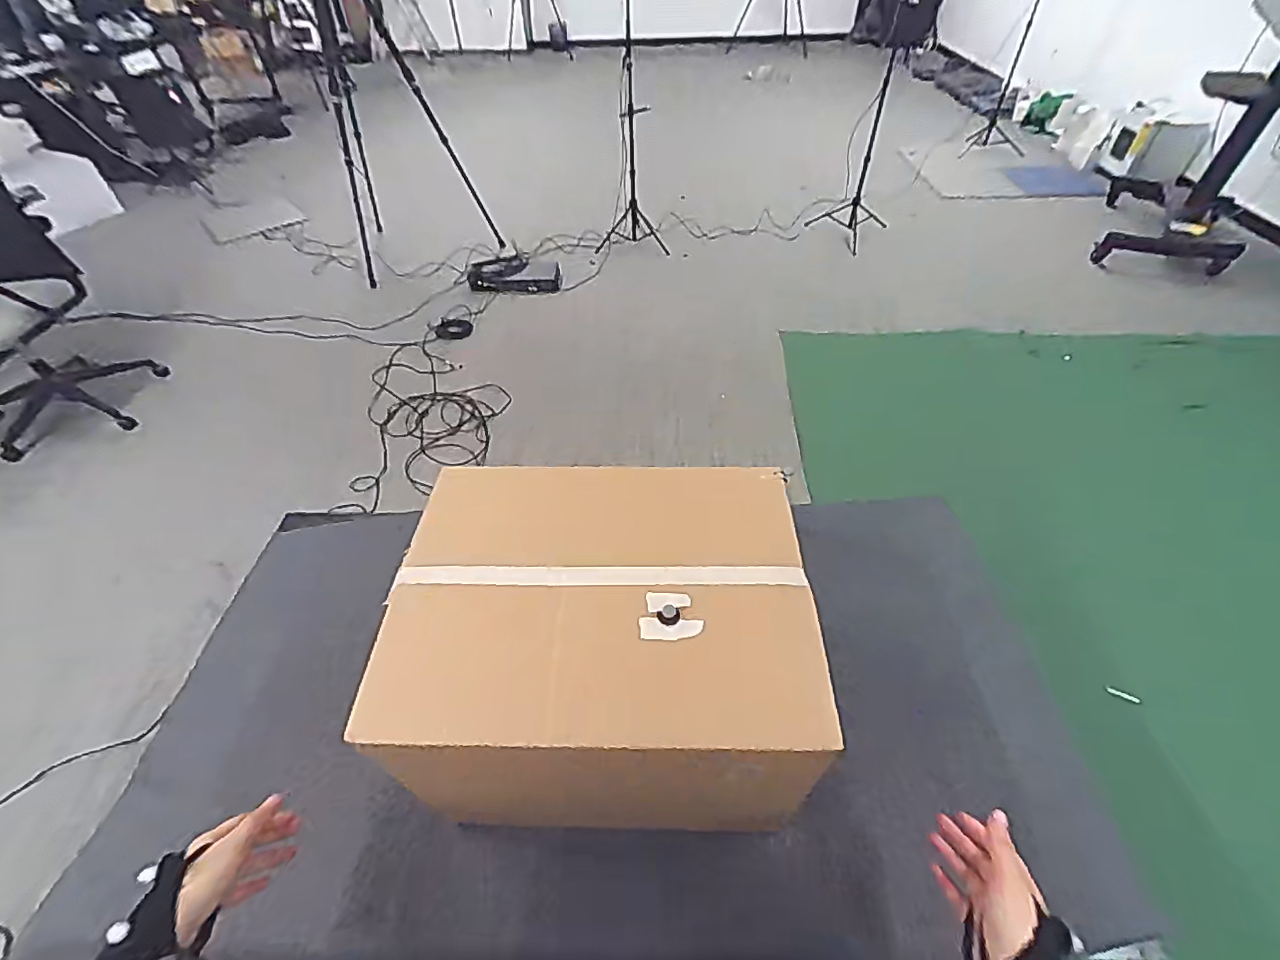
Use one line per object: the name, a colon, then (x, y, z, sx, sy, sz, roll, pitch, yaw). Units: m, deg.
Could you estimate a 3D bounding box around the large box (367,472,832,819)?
large box: (-0.034, 0.204, 0.663, 0.408, 0.320, 0.320, 0, 48, 1)
